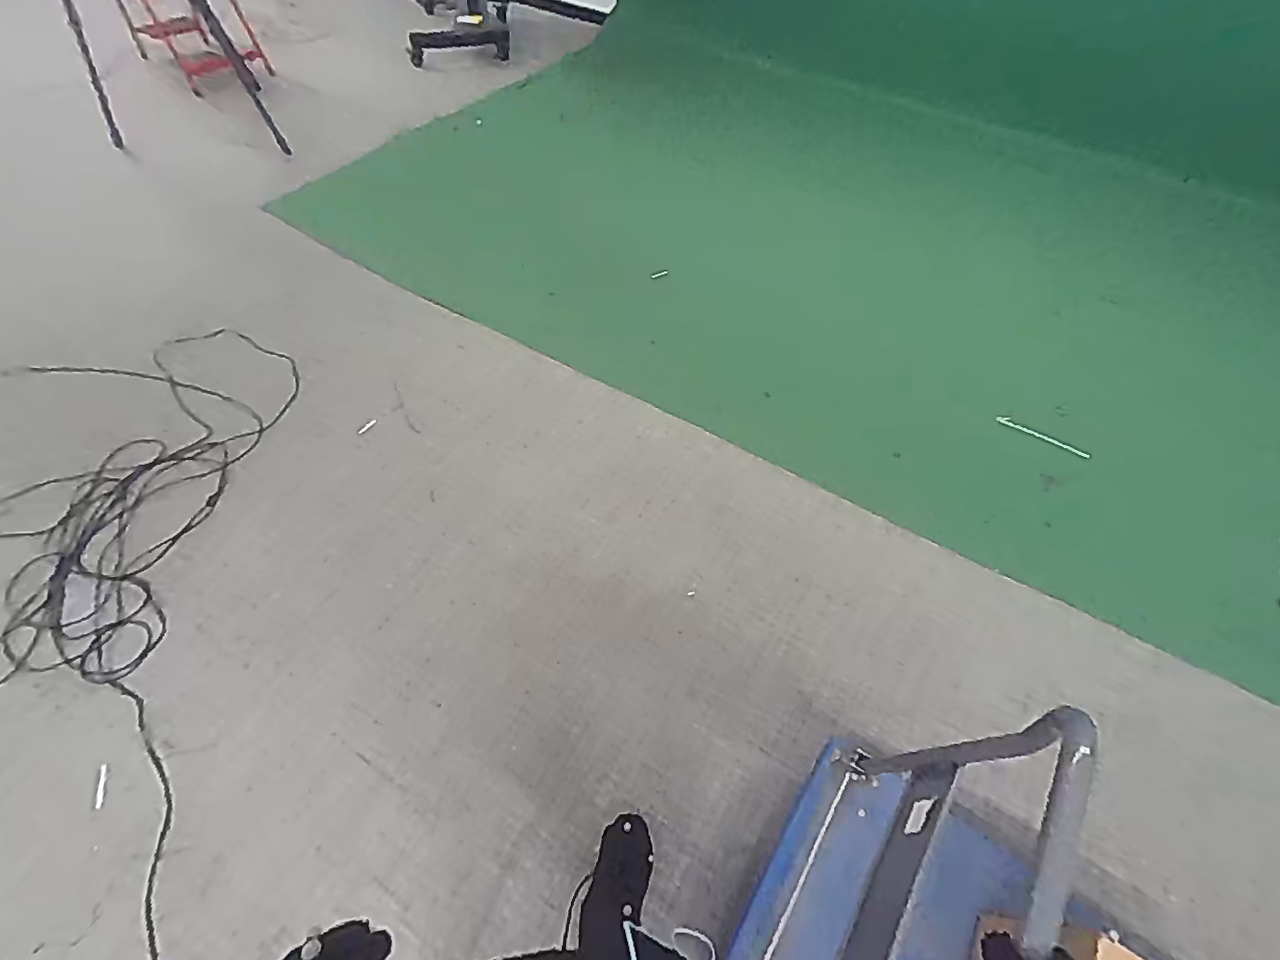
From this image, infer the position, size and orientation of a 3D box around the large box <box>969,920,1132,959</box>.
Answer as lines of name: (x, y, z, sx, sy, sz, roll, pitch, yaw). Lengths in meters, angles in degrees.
large box: (0.664, 0.944, 0.757, 0.320, 0.320, 0.408, 30, 58, 15)
